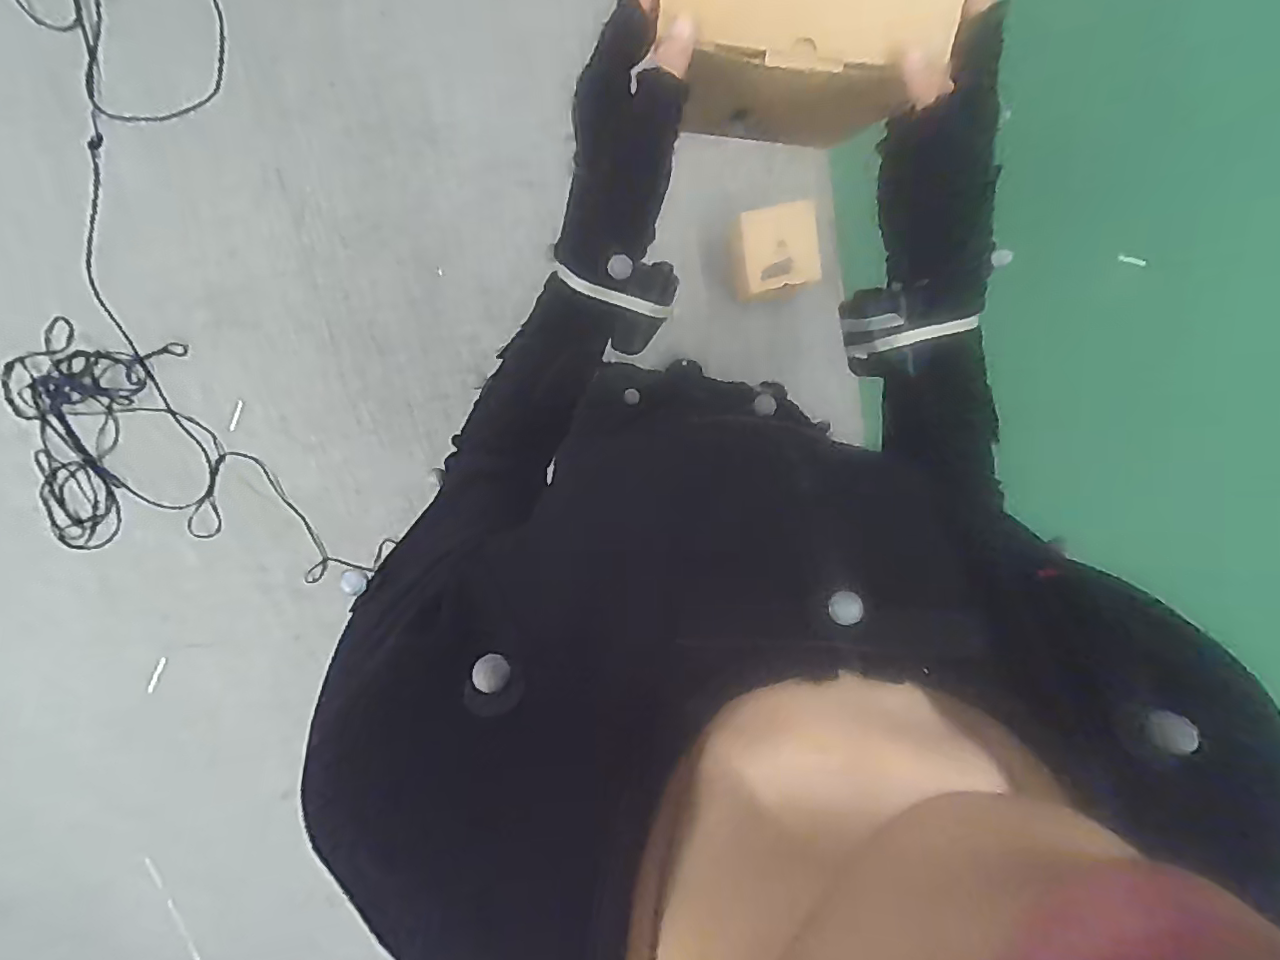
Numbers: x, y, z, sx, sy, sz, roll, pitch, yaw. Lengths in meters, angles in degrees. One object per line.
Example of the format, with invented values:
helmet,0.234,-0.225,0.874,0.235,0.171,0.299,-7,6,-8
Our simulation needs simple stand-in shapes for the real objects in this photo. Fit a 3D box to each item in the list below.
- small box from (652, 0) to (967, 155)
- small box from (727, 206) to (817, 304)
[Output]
small box,0.099,-0.337,0.351,0.168,0.176,0.179,5,109,-3
small box,0.309,-0.523,1.287,0.168,0.176,0.179,-10,100,3
